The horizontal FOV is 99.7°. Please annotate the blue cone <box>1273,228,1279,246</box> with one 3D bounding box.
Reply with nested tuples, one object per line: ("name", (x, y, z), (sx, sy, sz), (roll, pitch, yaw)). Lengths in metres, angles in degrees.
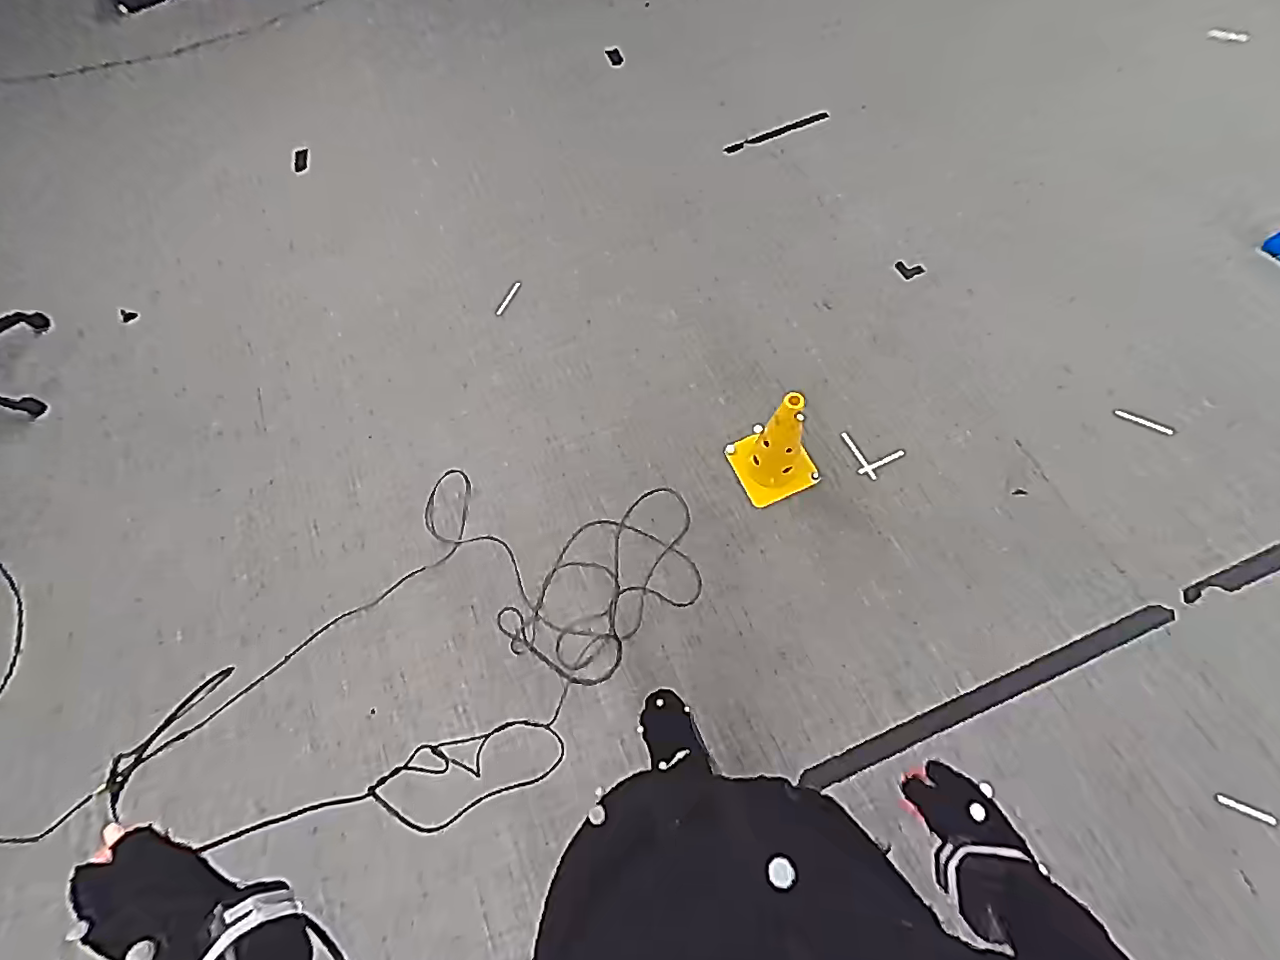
("blue cone", (1.937, -0.740, 1.399), (0.193, 0.380, 0.192), (-29, 70, -6))
